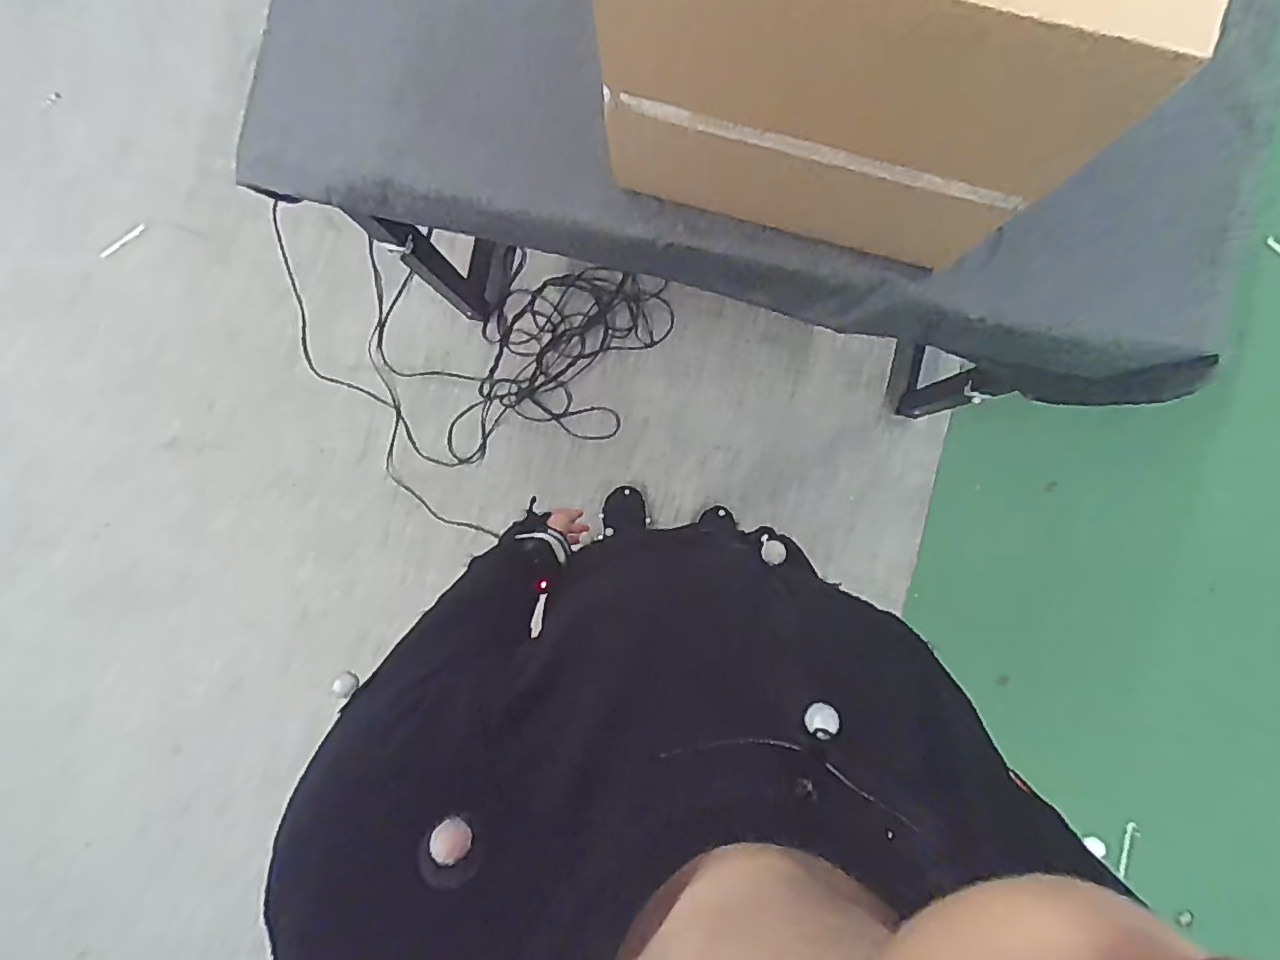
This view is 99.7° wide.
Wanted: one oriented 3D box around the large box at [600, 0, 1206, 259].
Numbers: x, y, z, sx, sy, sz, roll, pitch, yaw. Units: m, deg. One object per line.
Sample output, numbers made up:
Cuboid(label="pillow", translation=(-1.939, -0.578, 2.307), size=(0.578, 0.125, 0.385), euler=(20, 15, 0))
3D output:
Cuboid(label="large box", translation=(0.200, -0.452, 0.496), size=(0.408, 0.320, 0.320), euler=(14, 88, 2))
